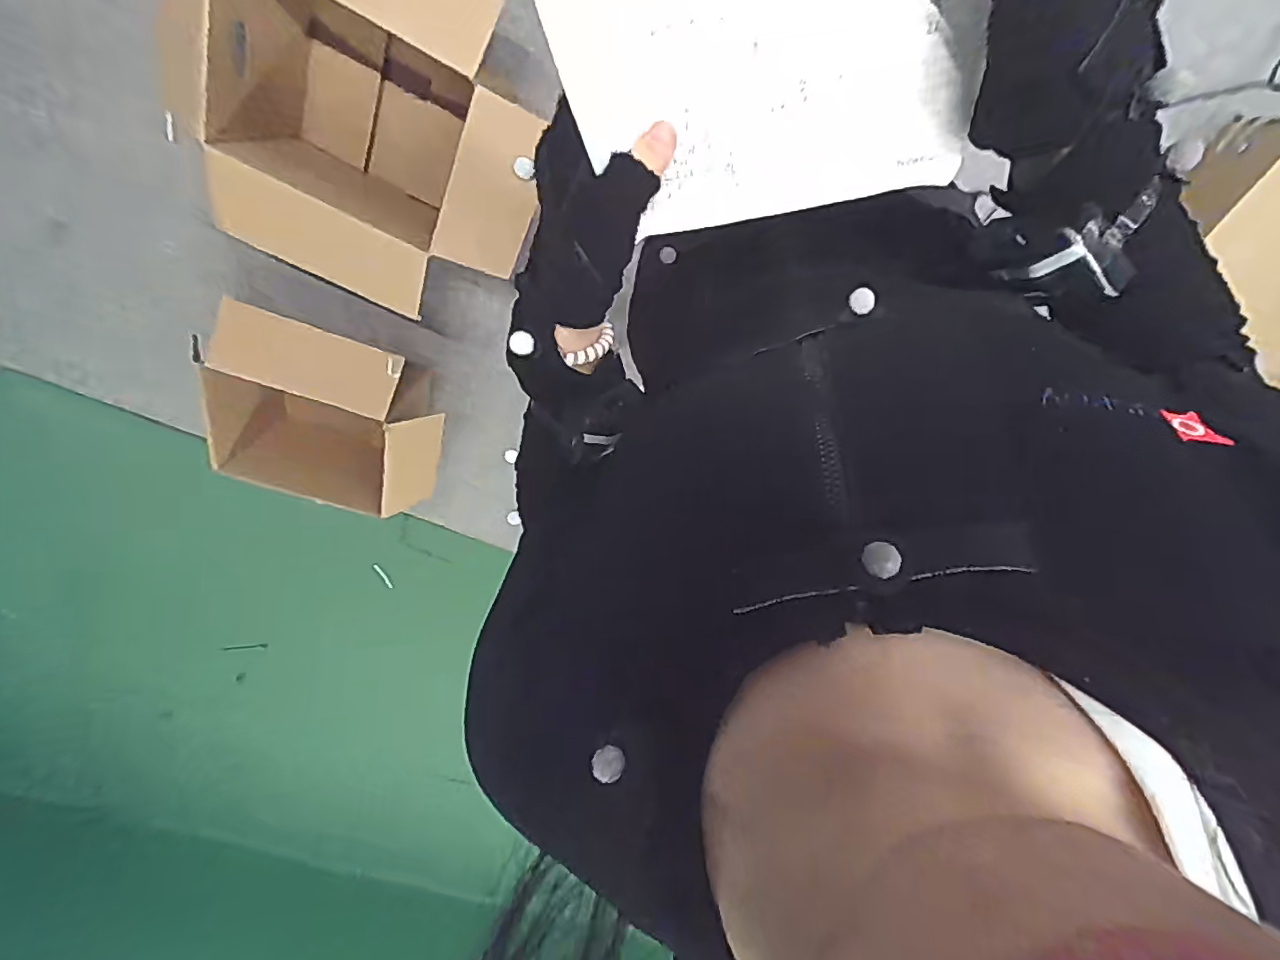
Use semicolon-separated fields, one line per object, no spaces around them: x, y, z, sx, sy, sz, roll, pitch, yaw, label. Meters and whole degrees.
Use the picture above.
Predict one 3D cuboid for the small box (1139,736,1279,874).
1.162;0.633;1.060;0.179;0.176;0.168;25;122;-13;small box
